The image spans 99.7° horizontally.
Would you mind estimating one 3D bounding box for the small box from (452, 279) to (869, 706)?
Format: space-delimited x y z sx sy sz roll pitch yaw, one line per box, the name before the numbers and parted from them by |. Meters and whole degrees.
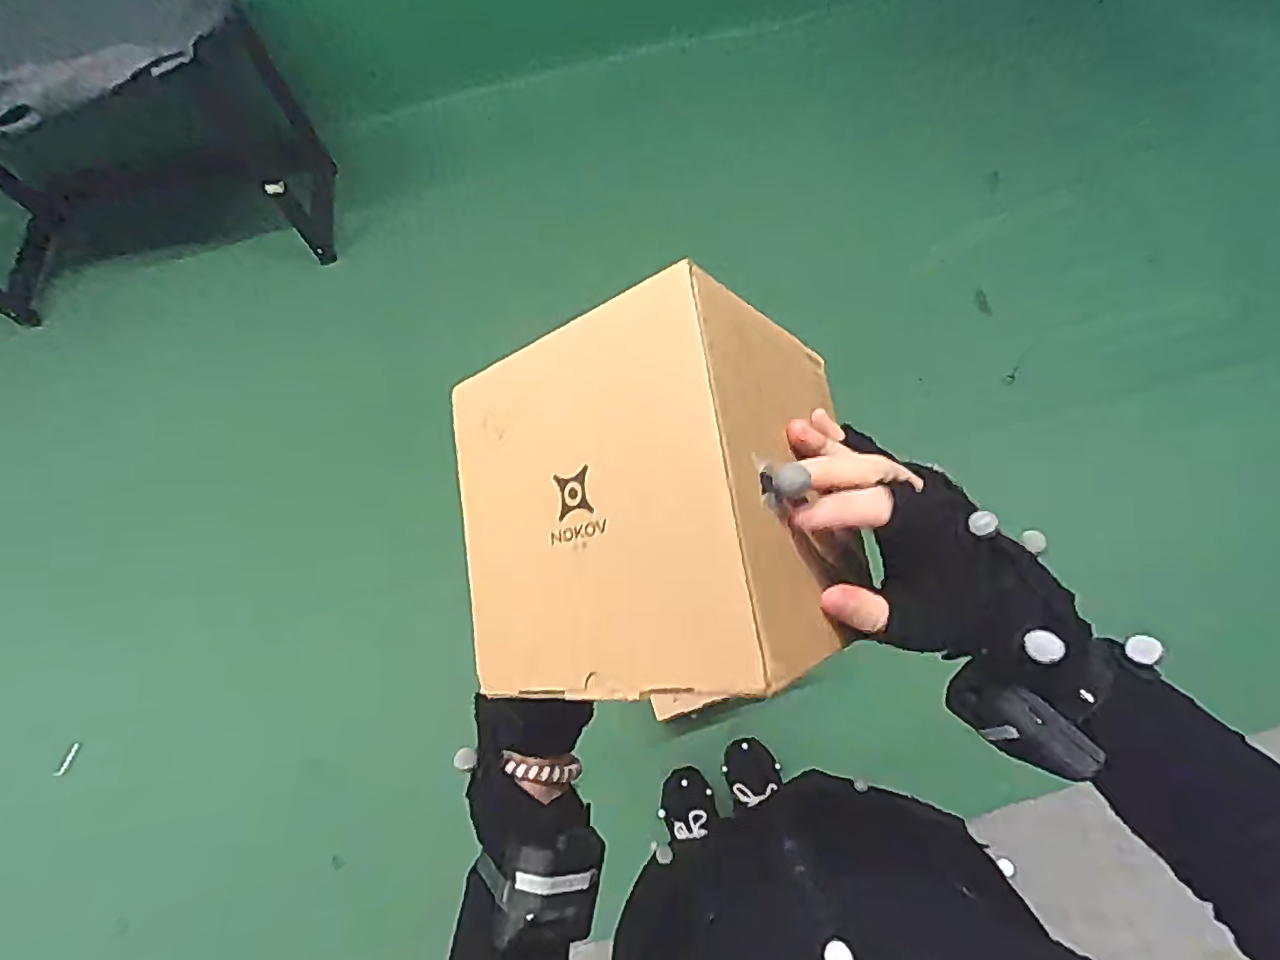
small box | 0.017 0.019 0.320 0.168 0.176 0.179 -16 79 34
